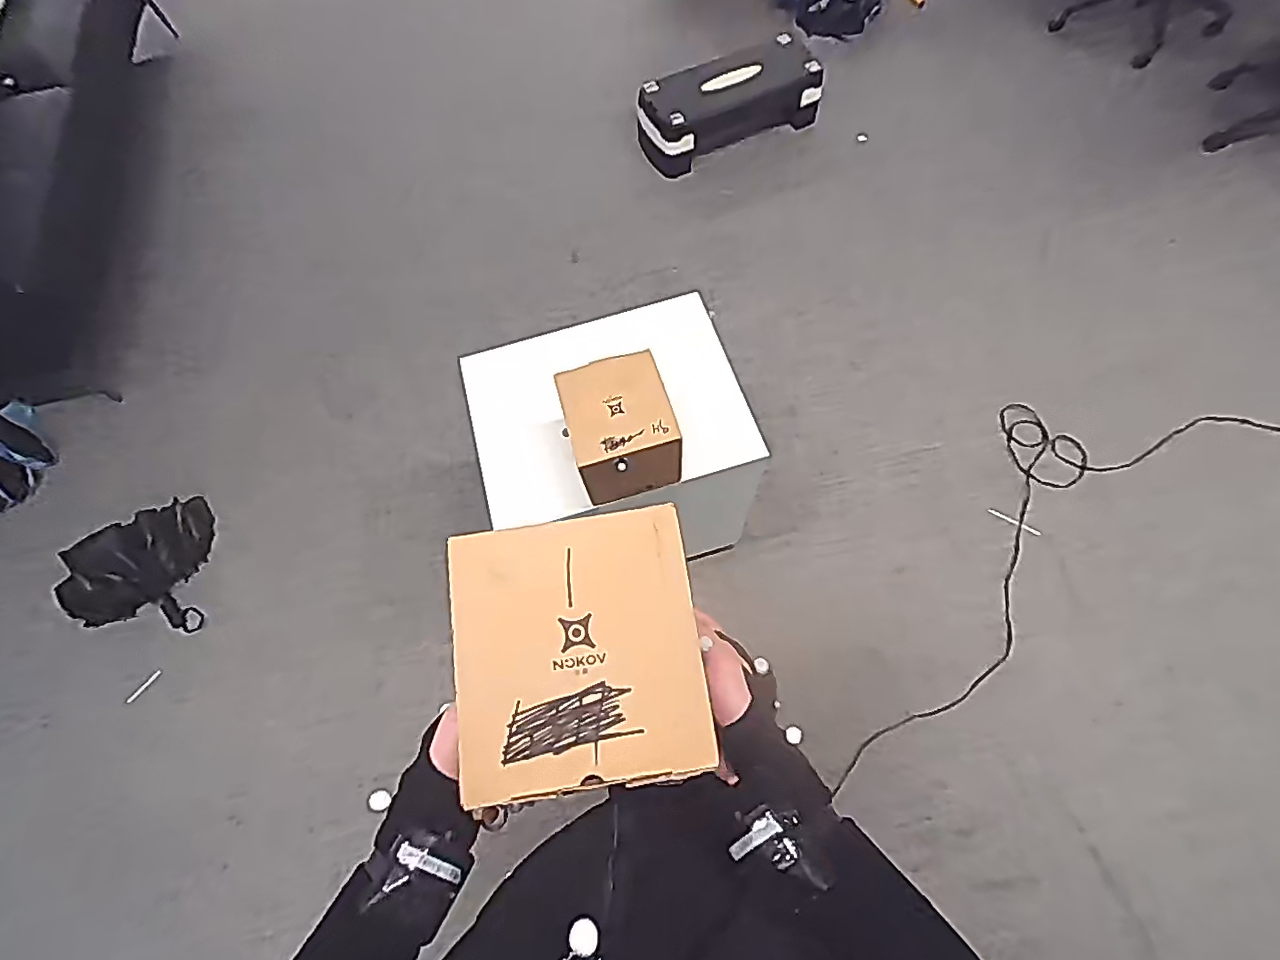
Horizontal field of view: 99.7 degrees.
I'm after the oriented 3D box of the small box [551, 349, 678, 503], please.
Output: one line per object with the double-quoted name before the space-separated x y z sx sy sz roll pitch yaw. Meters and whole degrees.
"small box" -0.040 -0.085 0.913 0.168 0.176 0.179 -17 66 -3
